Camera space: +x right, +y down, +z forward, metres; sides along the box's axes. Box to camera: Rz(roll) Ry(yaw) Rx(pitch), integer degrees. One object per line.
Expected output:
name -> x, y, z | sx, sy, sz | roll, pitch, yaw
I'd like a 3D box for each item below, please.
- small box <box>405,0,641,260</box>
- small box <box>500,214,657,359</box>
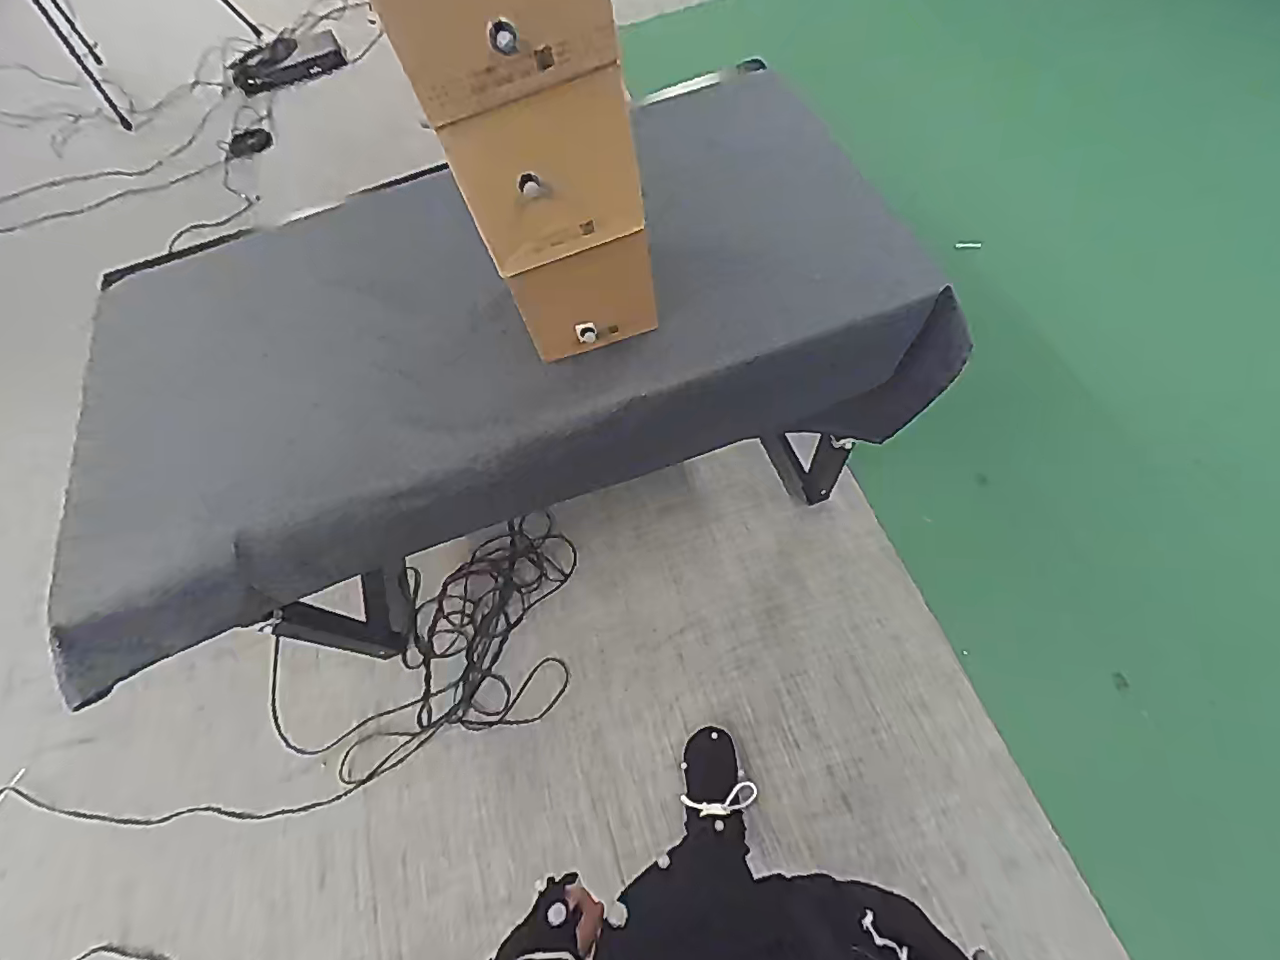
small box -> -0.108, -0.351, 0.546 | 0.168, 0.176, 0.179 | -20, 63, -1
small box -> -0.086, -0.290, 0.695 | 0.168, 0.176, 0.179 | -19, 65, 0
